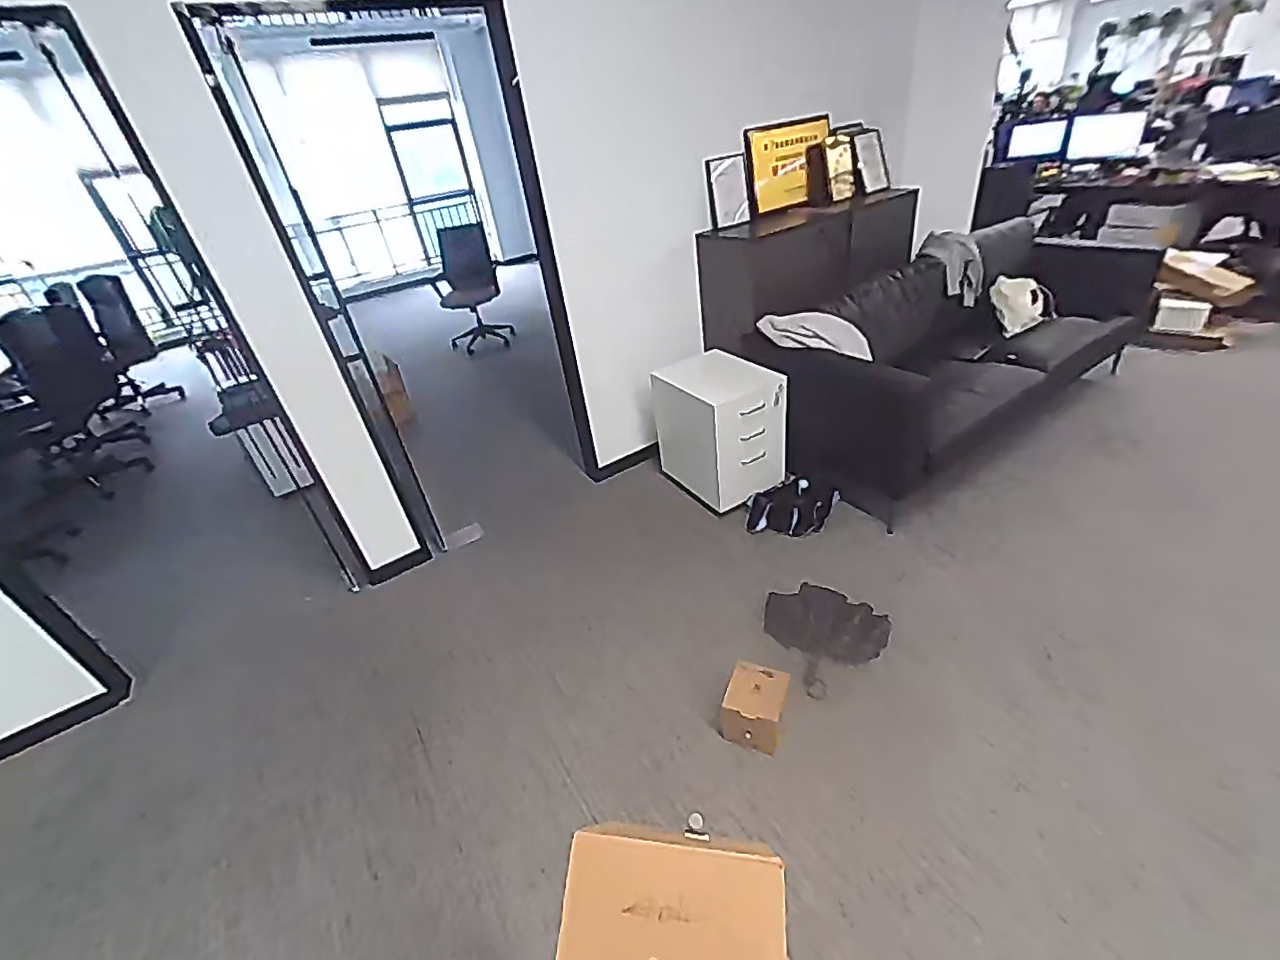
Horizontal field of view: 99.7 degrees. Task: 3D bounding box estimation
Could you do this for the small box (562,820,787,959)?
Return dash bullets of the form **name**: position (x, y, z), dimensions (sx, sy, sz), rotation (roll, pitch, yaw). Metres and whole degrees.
- **small box**: position (0.031, 0.401, 0.453), dimensions (0.168, 0.176, 0.179), rotation (2, 60, 7)
